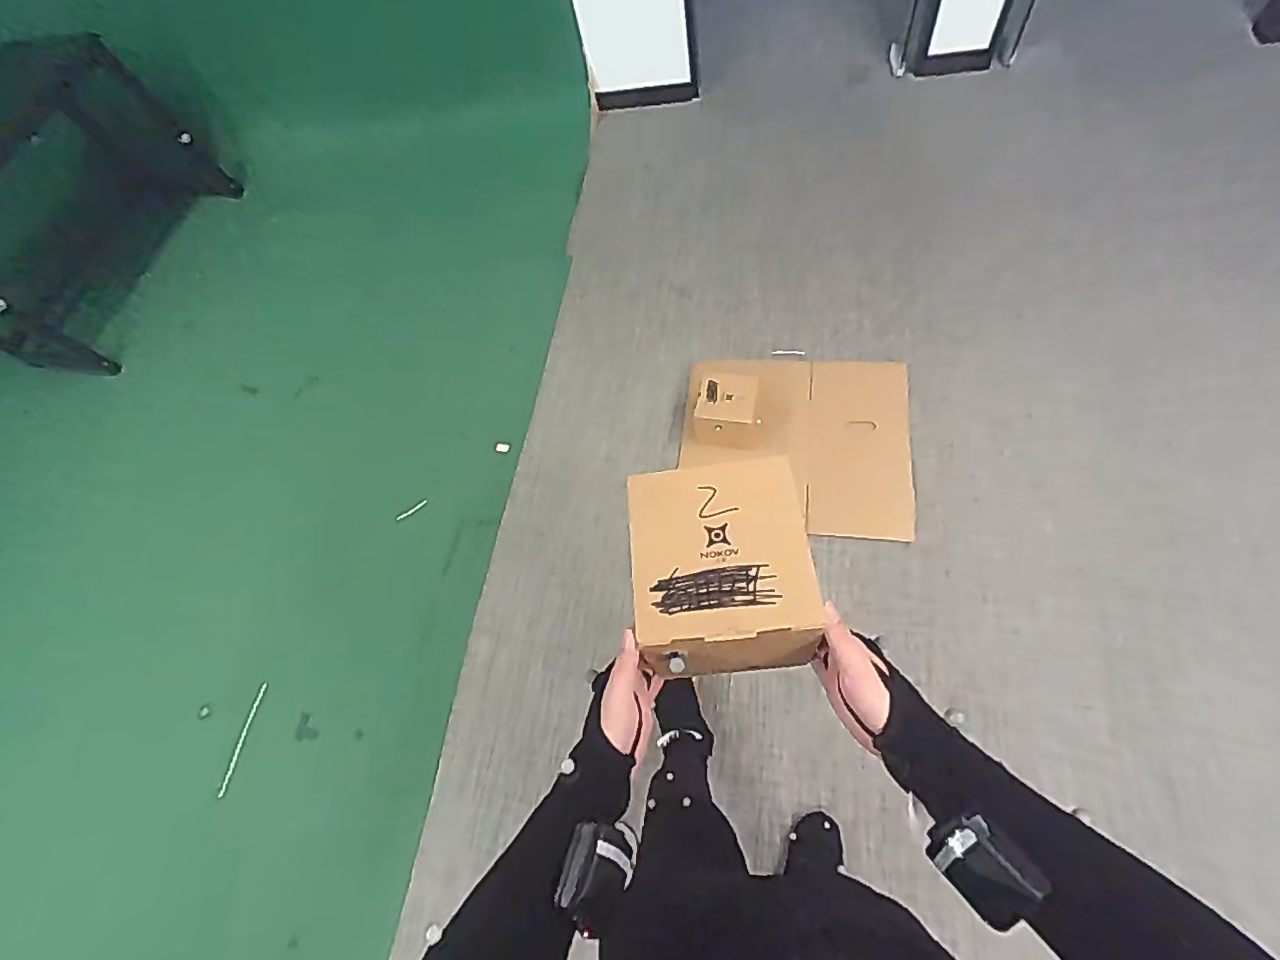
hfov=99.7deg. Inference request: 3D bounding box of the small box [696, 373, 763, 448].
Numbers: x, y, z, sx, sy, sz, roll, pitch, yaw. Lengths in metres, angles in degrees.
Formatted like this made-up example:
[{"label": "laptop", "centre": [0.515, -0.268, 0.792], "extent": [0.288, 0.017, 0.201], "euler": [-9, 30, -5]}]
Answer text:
[{"label": "small box", "centre": [0.283, -0.212, 1.685], "extent": [0.179, 0.176, 0.168], "euler": [8, 68, 15]}]
